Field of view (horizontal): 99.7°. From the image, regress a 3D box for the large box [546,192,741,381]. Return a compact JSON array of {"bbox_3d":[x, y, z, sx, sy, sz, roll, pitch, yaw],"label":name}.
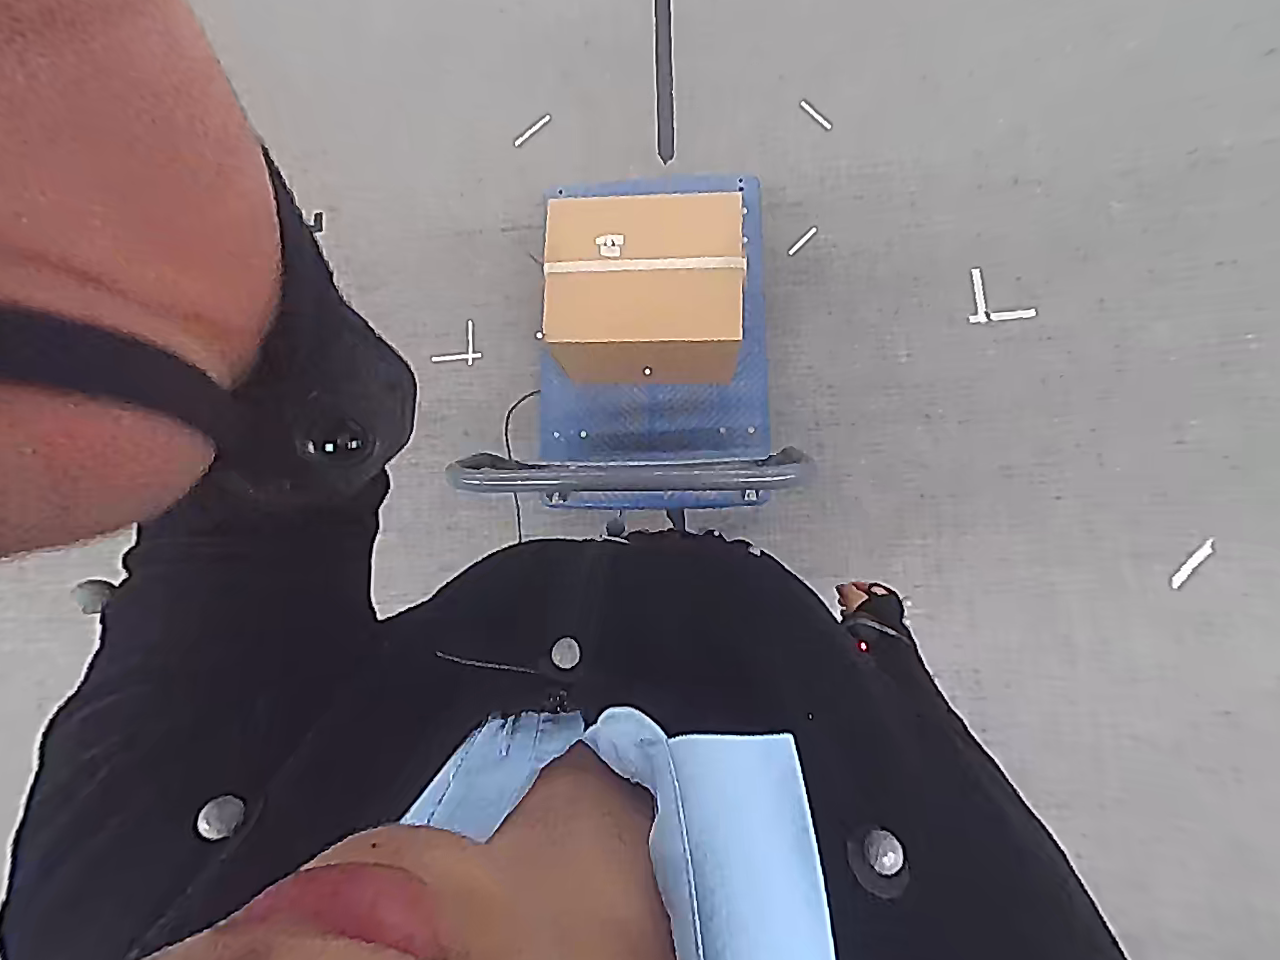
[{"bbox_3d":[0.020,-0.422,1.256,0.408,0.320,0.320,0,83,6],"label":"large box"}]
